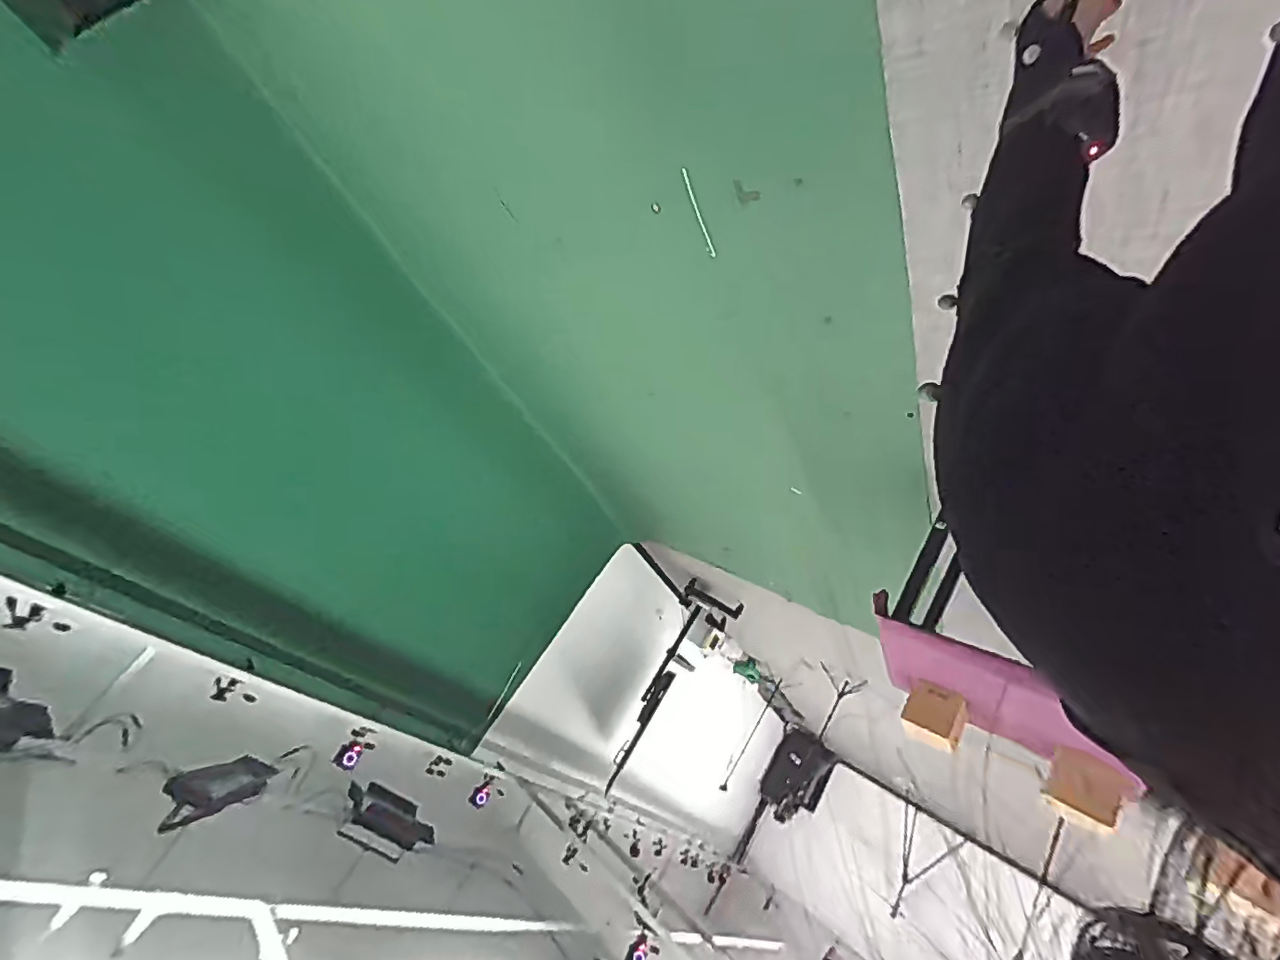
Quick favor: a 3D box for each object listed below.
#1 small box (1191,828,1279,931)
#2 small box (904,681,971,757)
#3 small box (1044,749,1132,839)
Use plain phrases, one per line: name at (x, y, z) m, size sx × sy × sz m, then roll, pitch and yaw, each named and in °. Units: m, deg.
small box at (1.688, 1.095, 1.484) m, size 0.179 × 0.176 × 0.168 m, roll 26°, pitch 157°, yaw 29°
small box at (1.088, 0.866, 1.968) m, size 0.168 × 0.176 × 0.179 m, roll 14°, pitch 149°, yaw 44°
small box at (1.409, 0.984, 1.702) m, size 0.179 × 0.176 × 0.168 m, roll 17°, pitch 151°, yaw 40°
